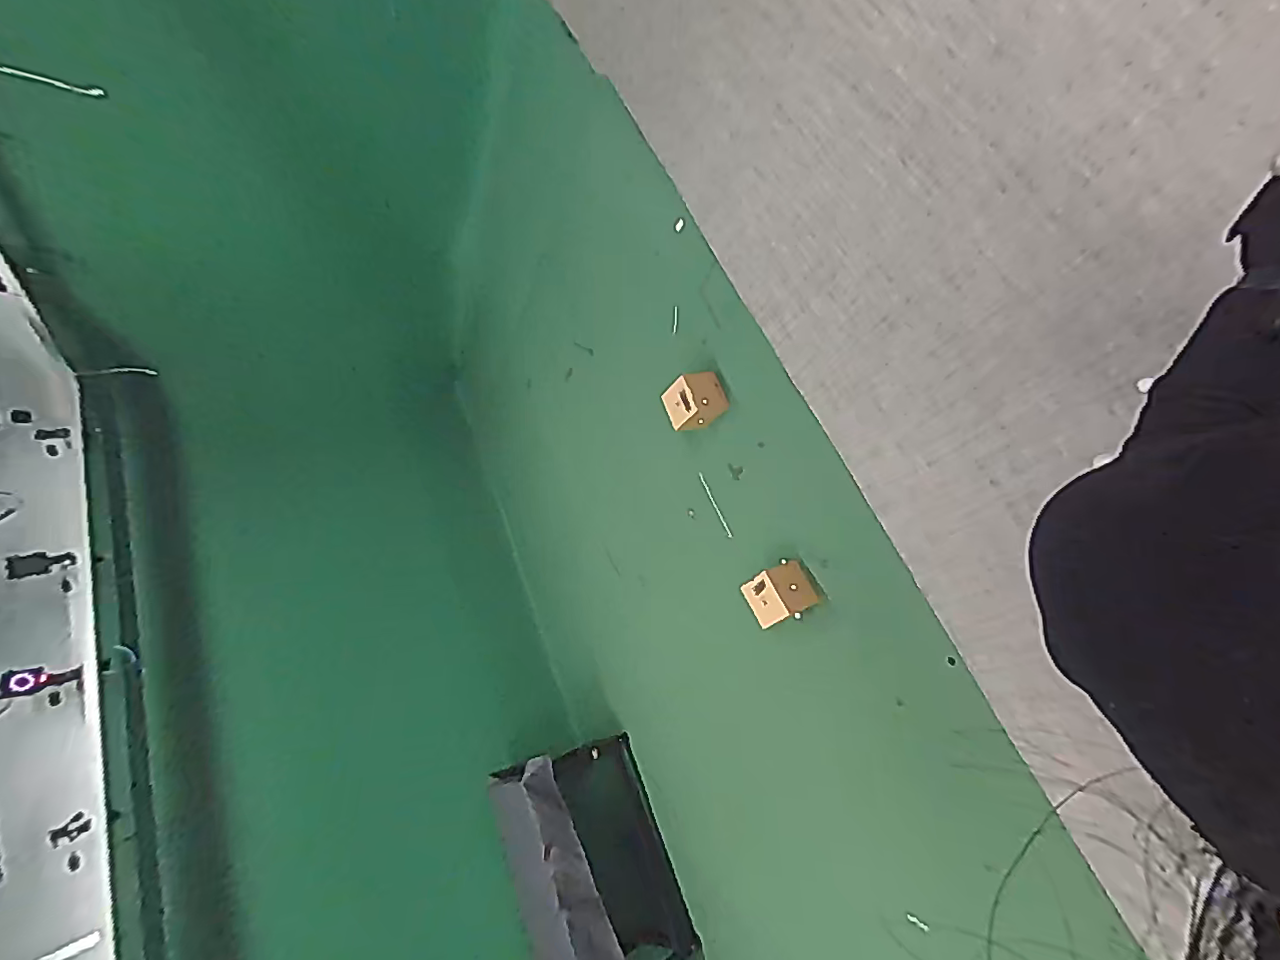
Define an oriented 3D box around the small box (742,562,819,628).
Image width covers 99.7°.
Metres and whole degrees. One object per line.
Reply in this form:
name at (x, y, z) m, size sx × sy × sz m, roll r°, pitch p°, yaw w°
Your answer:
small box at (0.518, 0.416, 1.995) m, size 0.179 × 0.176 × 0.168 m, roll 62°, pitch 144°, yaw 21°
